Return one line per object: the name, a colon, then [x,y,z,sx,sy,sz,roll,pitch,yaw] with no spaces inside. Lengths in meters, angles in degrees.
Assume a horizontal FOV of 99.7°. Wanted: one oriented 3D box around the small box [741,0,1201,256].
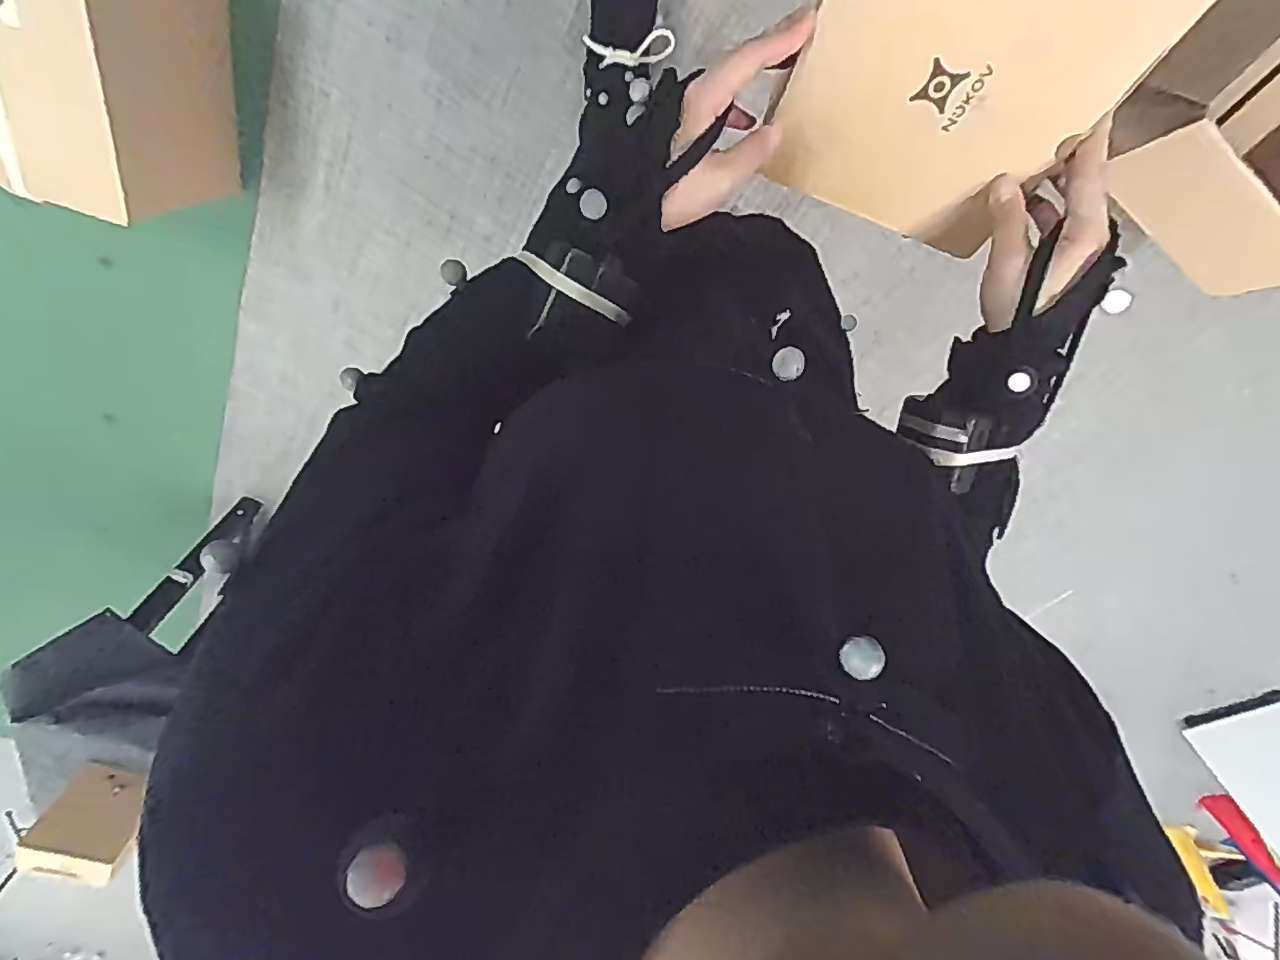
small box: [0.186,-0.289,0.349,0.179,0.176,0.168,19,147,-7]
